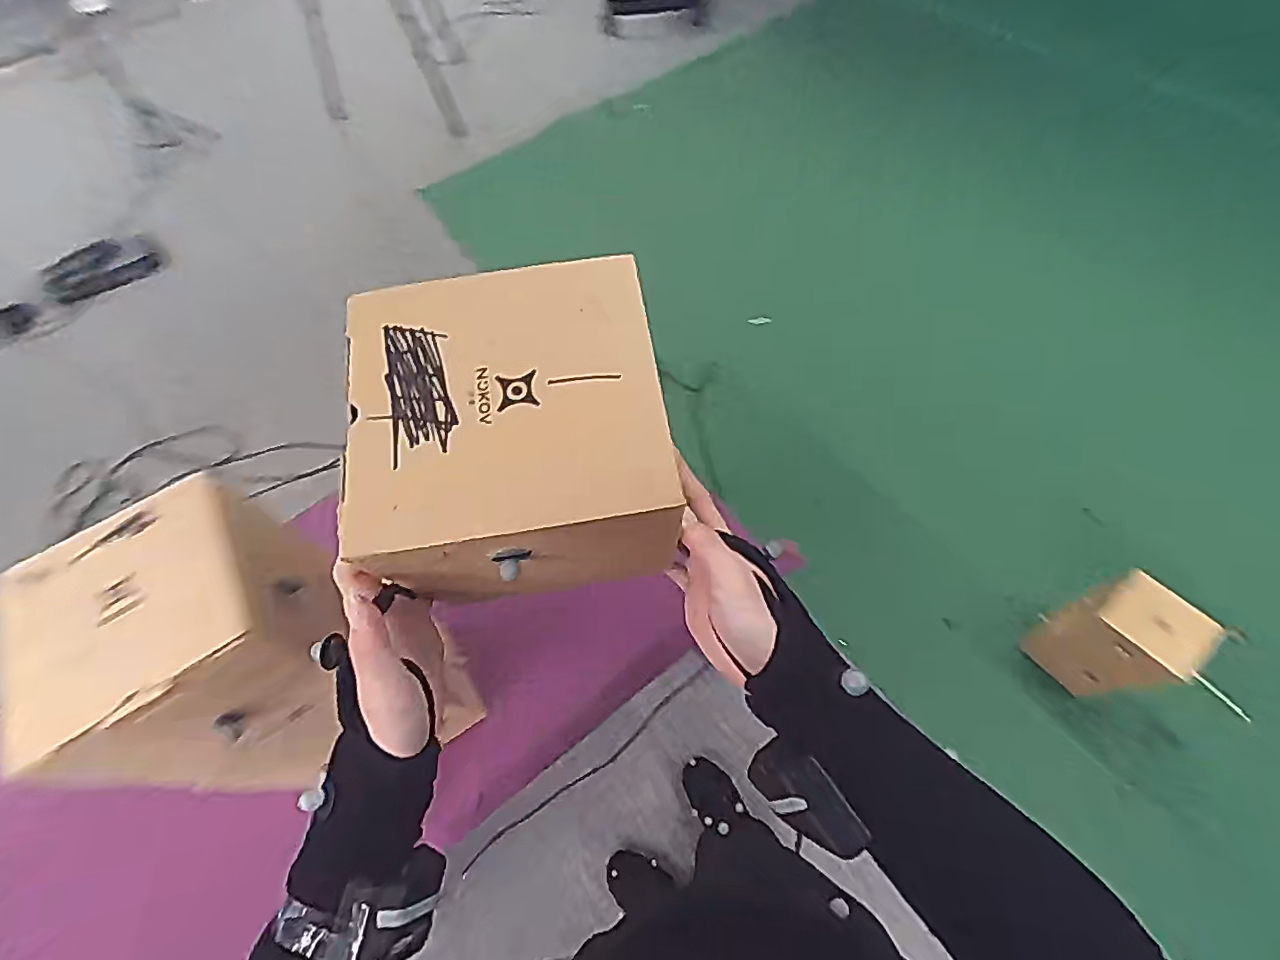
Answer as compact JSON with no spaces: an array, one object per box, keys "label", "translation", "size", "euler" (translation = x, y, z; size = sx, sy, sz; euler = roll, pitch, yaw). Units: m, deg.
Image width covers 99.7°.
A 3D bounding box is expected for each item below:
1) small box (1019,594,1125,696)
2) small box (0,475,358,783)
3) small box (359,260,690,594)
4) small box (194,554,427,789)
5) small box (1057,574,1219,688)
[{"label":"small box","translation":[1.123,0.424,1.369],"size":[0.168,0.176,0.179],"euler":[-36,63,-14]},{"label":"small box","translation":[-0.387,0.134,0.478],"size":[0.168,0.176,0.179],"euler":[-32,63,-13]},{"label":"small box","translation":[-0.065,-0.022,0.381],"size":[0.179,0.176,0.168],"euler":[-8,69,-1]},{"label":"small box","translation":[-0.369,0.219,0.615],"size":[0.179,0.176,0.168],"euler":[-33,63,-12]},{"label":"small box","translation":[1.114,0.348,1.225],"size":[0.168,0.176,0.179],"euler":[-39,64,-15]}]
